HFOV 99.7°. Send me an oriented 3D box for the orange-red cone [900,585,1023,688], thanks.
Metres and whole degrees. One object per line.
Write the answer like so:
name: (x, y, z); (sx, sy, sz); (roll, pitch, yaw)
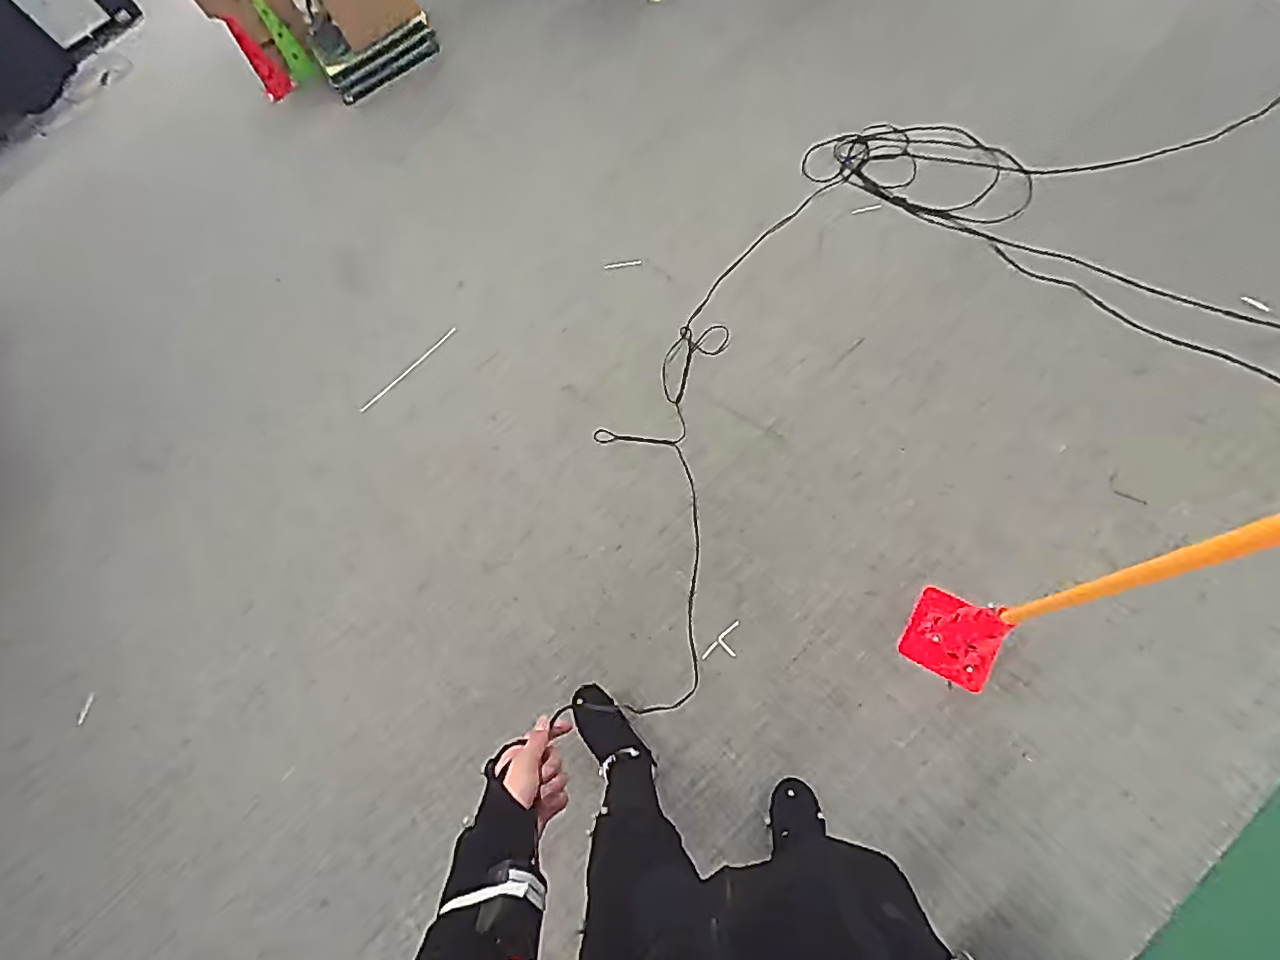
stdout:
orange-red cone: (0.738, 0.317, 1.182); (0.198, 0.360, 0.199); (29, 76, 21)
